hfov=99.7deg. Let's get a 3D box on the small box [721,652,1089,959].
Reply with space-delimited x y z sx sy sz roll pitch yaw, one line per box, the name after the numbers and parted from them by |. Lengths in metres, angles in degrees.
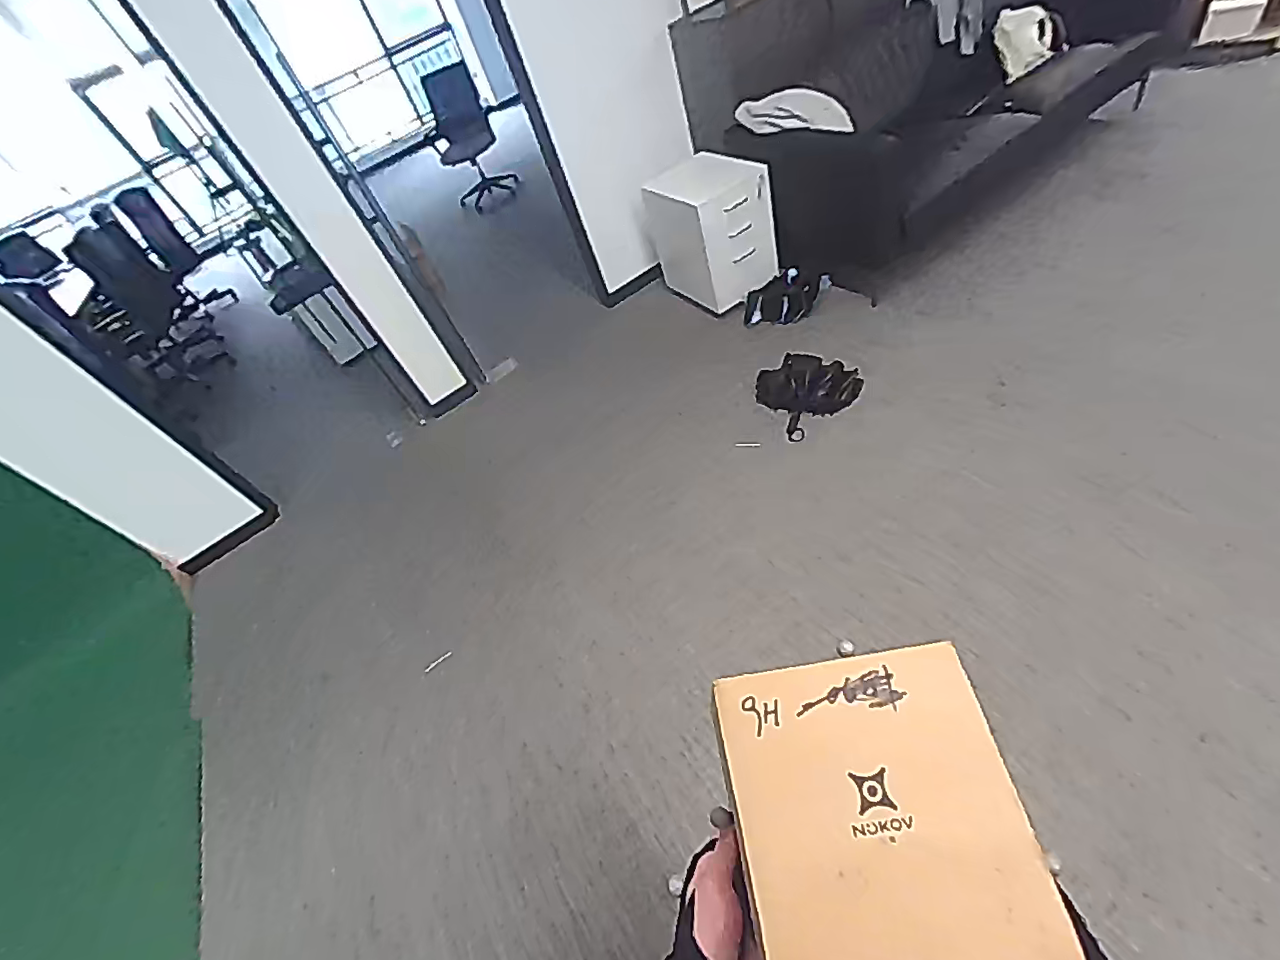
0.157 0.240 0.395 0.168 0.176 0.179 -10 61 1 | small box
